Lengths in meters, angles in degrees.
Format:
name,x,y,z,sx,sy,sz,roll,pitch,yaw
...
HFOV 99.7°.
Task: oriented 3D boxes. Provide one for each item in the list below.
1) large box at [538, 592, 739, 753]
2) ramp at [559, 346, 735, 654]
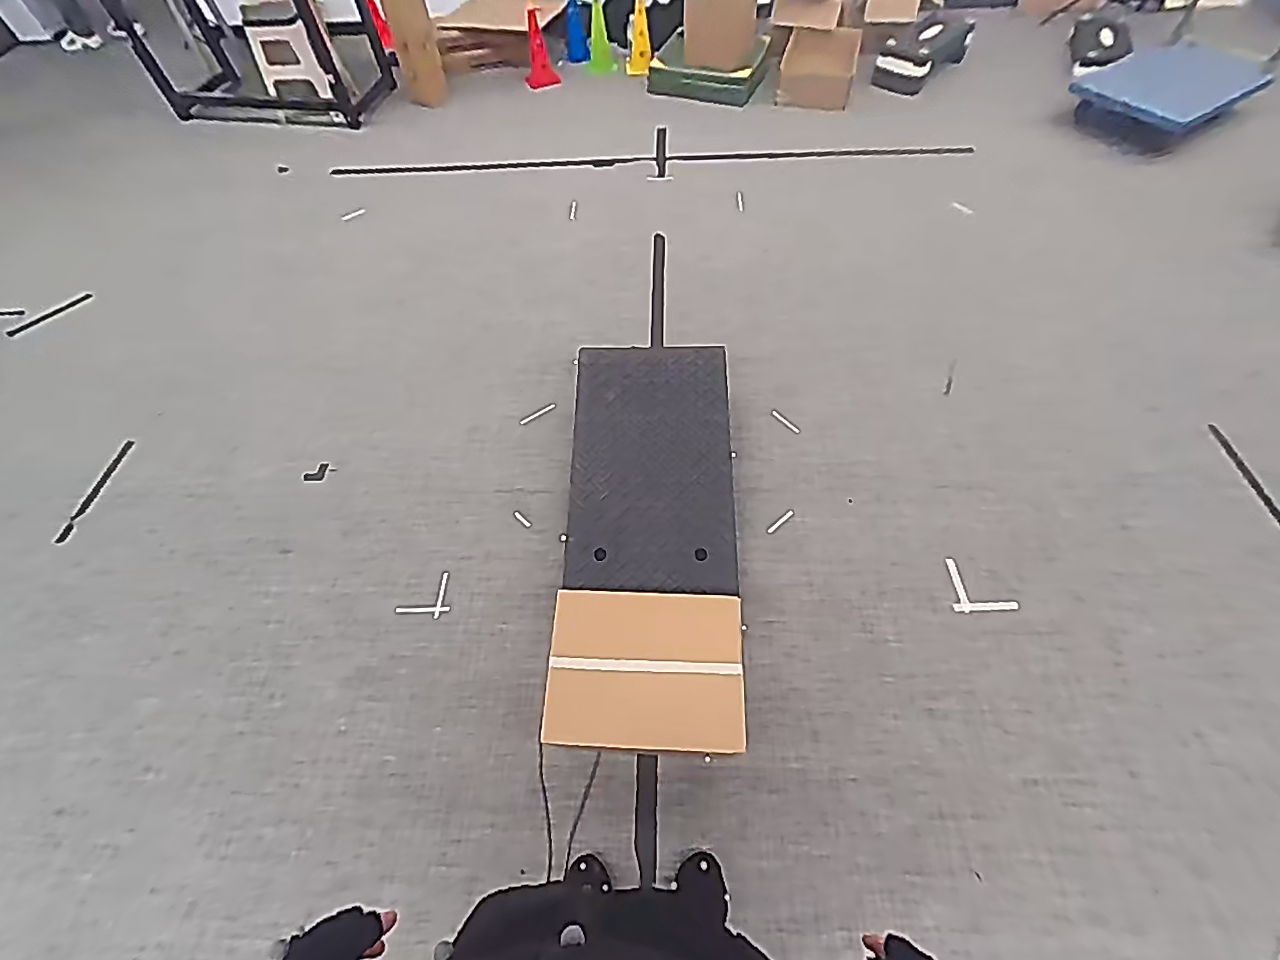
name,x,y,z,sx,sy,sz,roll,pitch,yaw
large box,0.005,0.459,1.262,0.408,0.320,0.320,2,61,2
ramp,0.023,0.018,1.629,0.509,0.206,0.991,0,57,0
